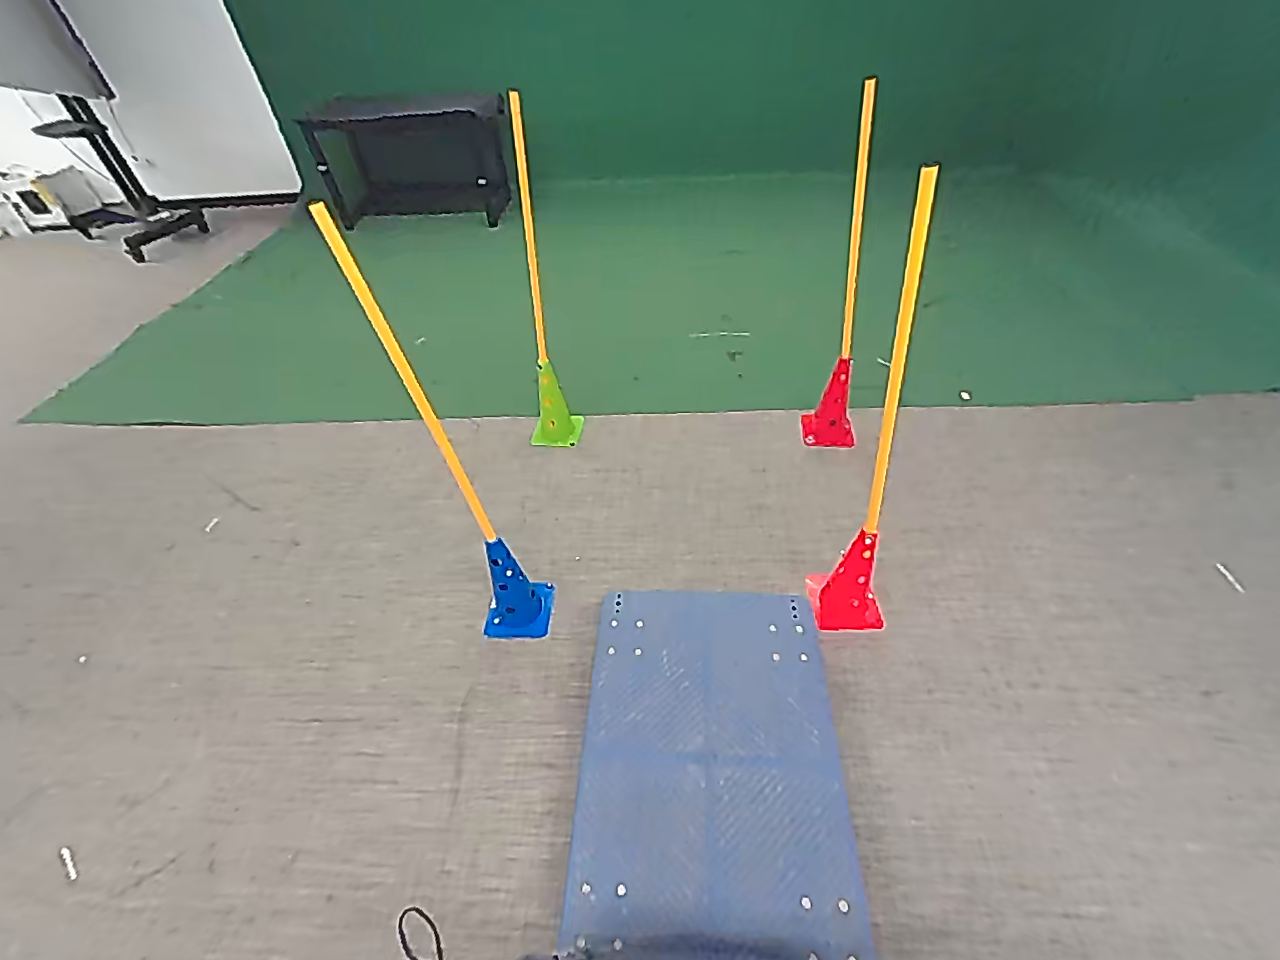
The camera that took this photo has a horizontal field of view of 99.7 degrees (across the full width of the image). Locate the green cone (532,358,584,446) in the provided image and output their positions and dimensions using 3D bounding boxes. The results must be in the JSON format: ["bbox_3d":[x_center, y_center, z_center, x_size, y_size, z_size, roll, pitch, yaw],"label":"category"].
[{"bbox_3d":[-0.365,-0.339,2.223,0.202,0.368,0.200,2,45,7],"label":"green cone"}]

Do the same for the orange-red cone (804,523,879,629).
[{"bbox_3d":[0.613,0.254,1.566,0.199,0.360,0.198,-2,44,4],"label":"orange-red cone"}]
